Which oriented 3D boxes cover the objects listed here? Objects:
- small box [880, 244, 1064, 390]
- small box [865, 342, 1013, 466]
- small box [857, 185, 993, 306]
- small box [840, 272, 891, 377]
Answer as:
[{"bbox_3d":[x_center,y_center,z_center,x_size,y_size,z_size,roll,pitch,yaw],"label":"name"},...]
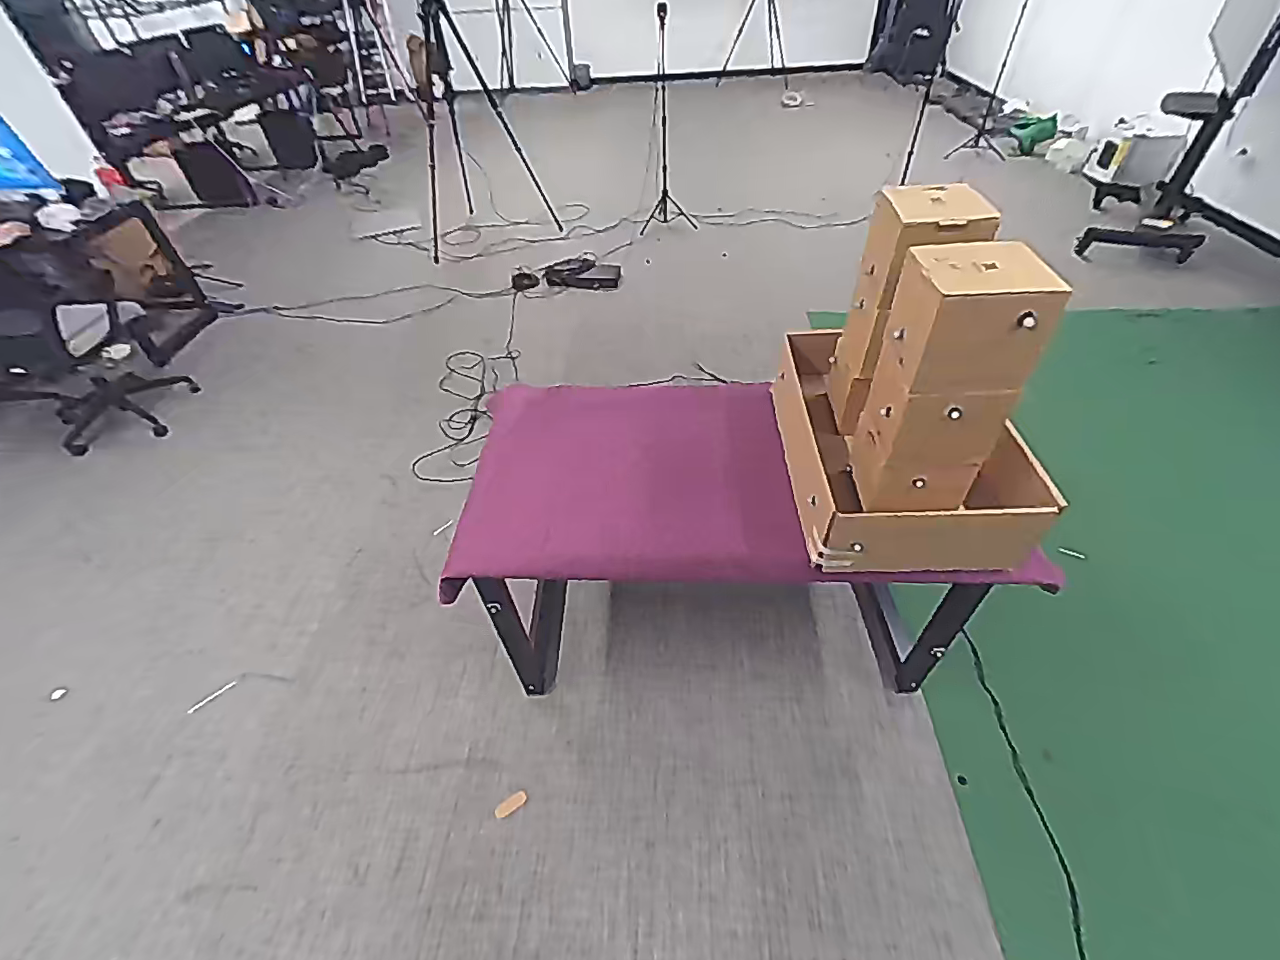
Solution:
[{"bbox_3d":[0.511,-0.256,0.863,0.179,0.176,0.168,-1,46,5],"label":"small box"},{"bbox_3d":[0.521,-0.139,0.979,0.179,0.176,0.168,0,46,6],"label":"small box"},{"bbox_3d":[0.536,-0.446,1.046,0.168,0.176,0.179,0,48,4],"label":"small box"},{"bbox_3d":[0.544,-0.332,1.164,0.168,0.176,0.179,0,47,5],"label":"small box"}]
